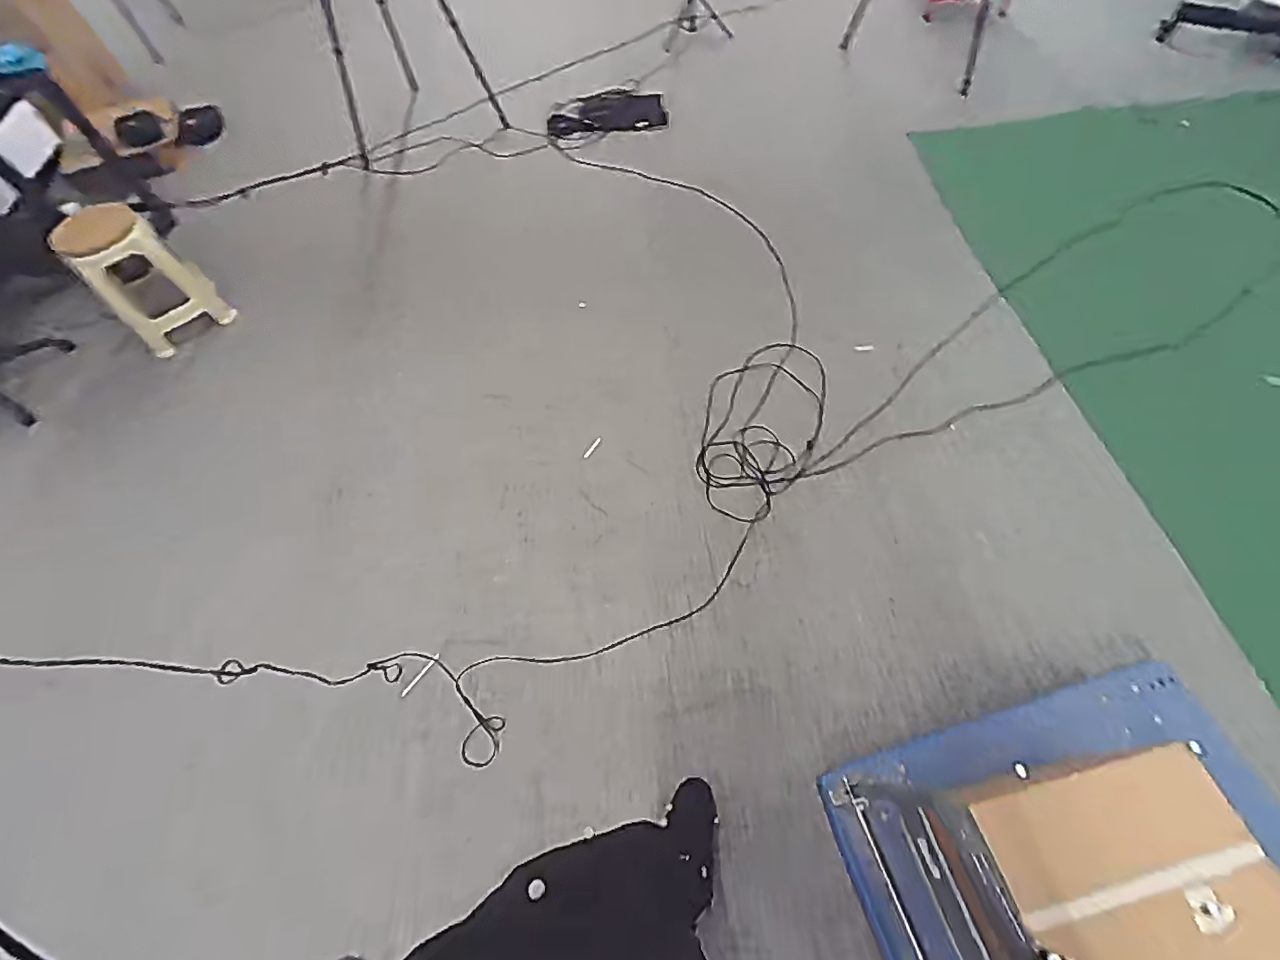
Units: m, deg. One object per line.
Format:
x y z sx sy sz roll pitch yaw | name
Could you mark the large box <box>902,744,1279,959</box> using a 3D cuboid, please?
0.767 0.703 0.956 0.408 0.320 0.320 -14 60 -4 | large box
